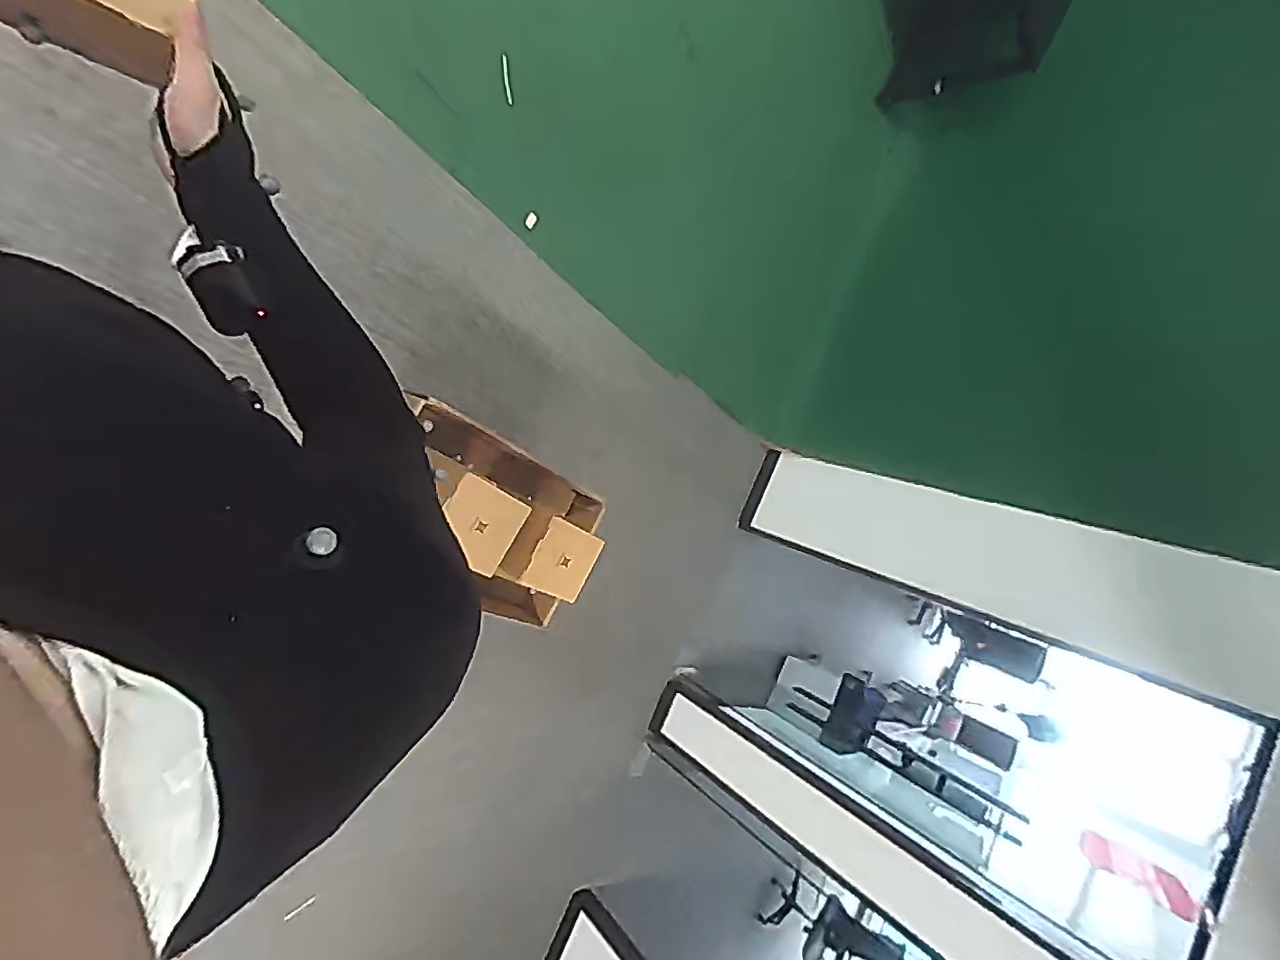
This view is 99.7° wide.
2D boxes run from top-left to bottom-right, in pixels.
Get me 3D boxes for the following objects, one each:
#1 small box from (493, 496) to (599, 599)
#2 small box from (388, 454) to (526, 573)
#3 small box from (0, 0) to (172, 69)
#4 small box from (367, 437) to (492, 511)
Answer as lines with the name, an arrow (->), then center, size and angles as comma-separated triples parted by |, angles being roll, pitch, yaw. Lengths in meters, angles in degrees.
small box -> -0.236, 0.156, 1.279 | 0.179, 0.176, 0.168 | 35, 80, -44
small box -> -0.375, 0.062, 1.100 | 0.179, 0.176, 0.168 | 40, 77, -46
small box -> -0.441, -0.446, 0.385 | 0.168, 0.176, 0.179 | 5, 104, -45
small box -> -0.478, 0.016, 1.218 | 0.179, 0.176, 0.168 | 37, 78, -47
